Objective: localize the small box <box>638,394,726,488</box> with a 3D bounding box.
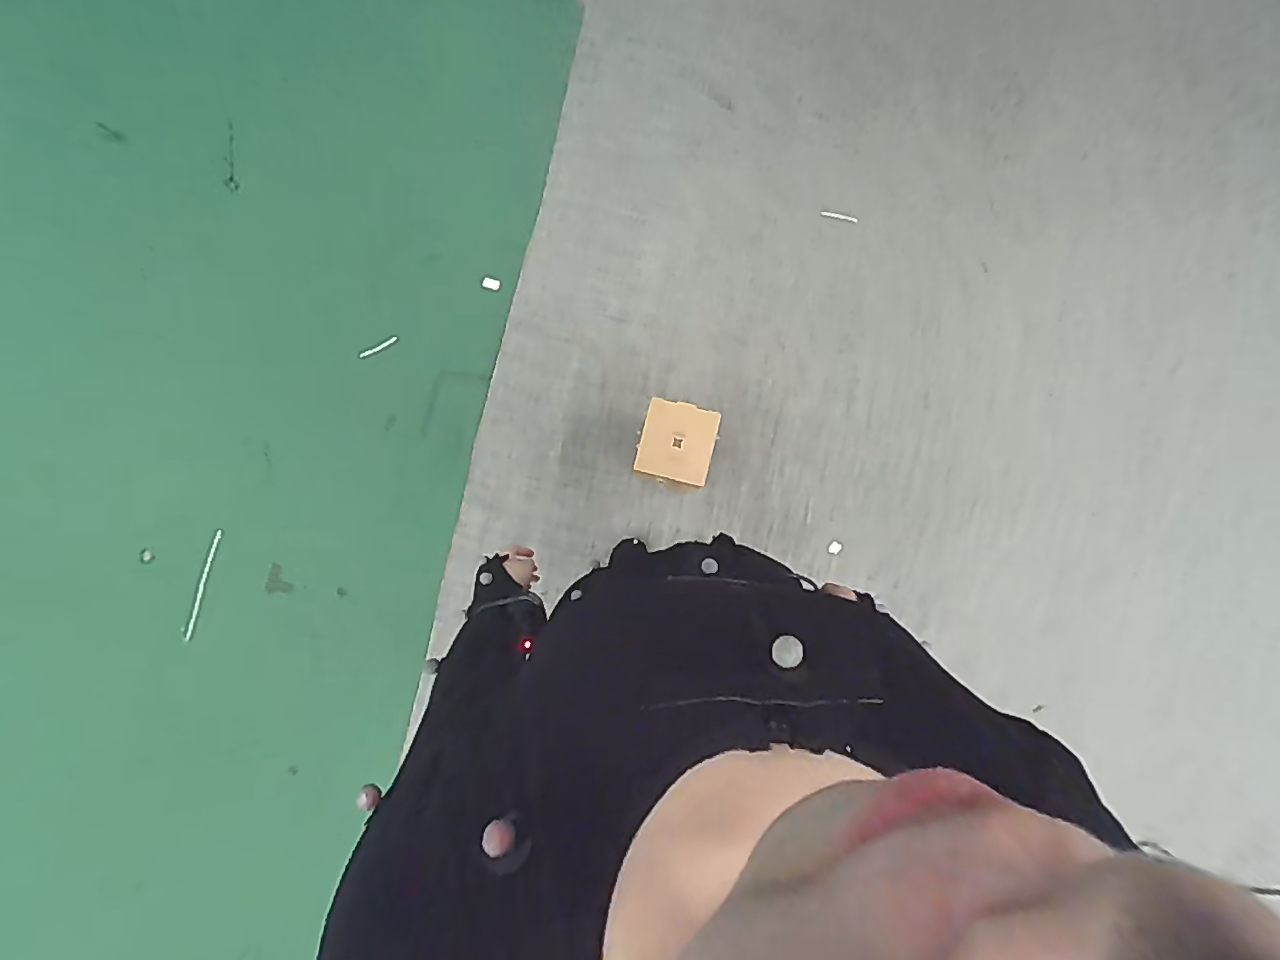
[{"bbox_3d":[0.094,-0.085,1.280,0.168,0.176,0.179,14,87,3],"label":"small box"}]
